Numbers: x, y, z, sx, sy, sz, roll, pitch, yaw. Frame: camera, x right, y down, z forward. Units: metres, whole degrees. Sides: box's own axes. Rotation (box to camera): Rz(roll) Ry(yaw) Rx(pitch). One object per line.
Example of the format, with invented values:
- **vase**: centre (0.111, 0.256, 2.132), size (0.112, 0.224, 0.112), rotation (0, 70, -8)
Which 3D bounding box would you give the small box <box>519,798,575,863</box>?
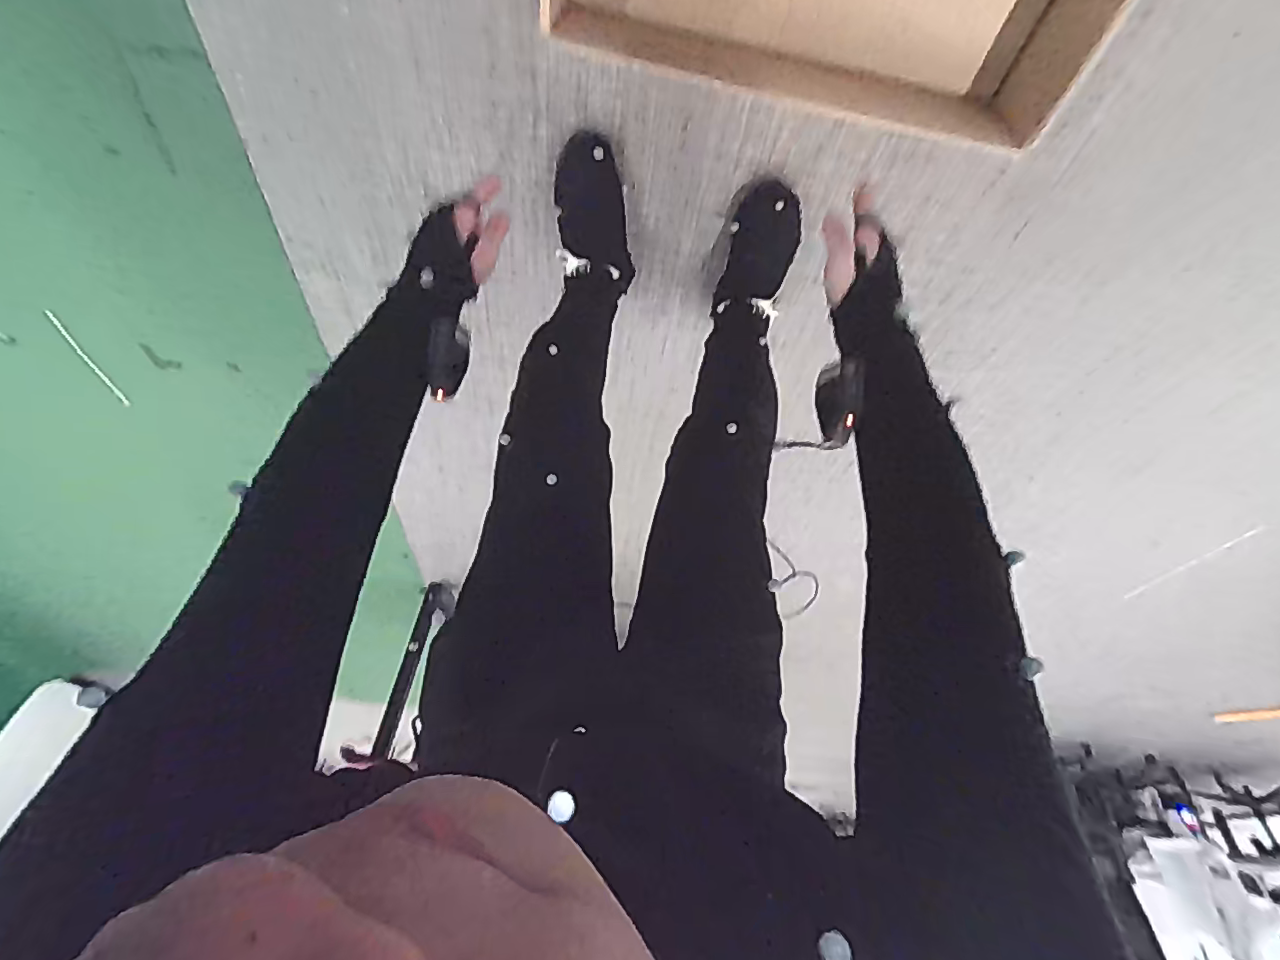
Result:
- **small box**: centre (-0.318, 1.210, 1.869), size (0.168, 0.176, 0.179), rotation (9, 145, -5)
